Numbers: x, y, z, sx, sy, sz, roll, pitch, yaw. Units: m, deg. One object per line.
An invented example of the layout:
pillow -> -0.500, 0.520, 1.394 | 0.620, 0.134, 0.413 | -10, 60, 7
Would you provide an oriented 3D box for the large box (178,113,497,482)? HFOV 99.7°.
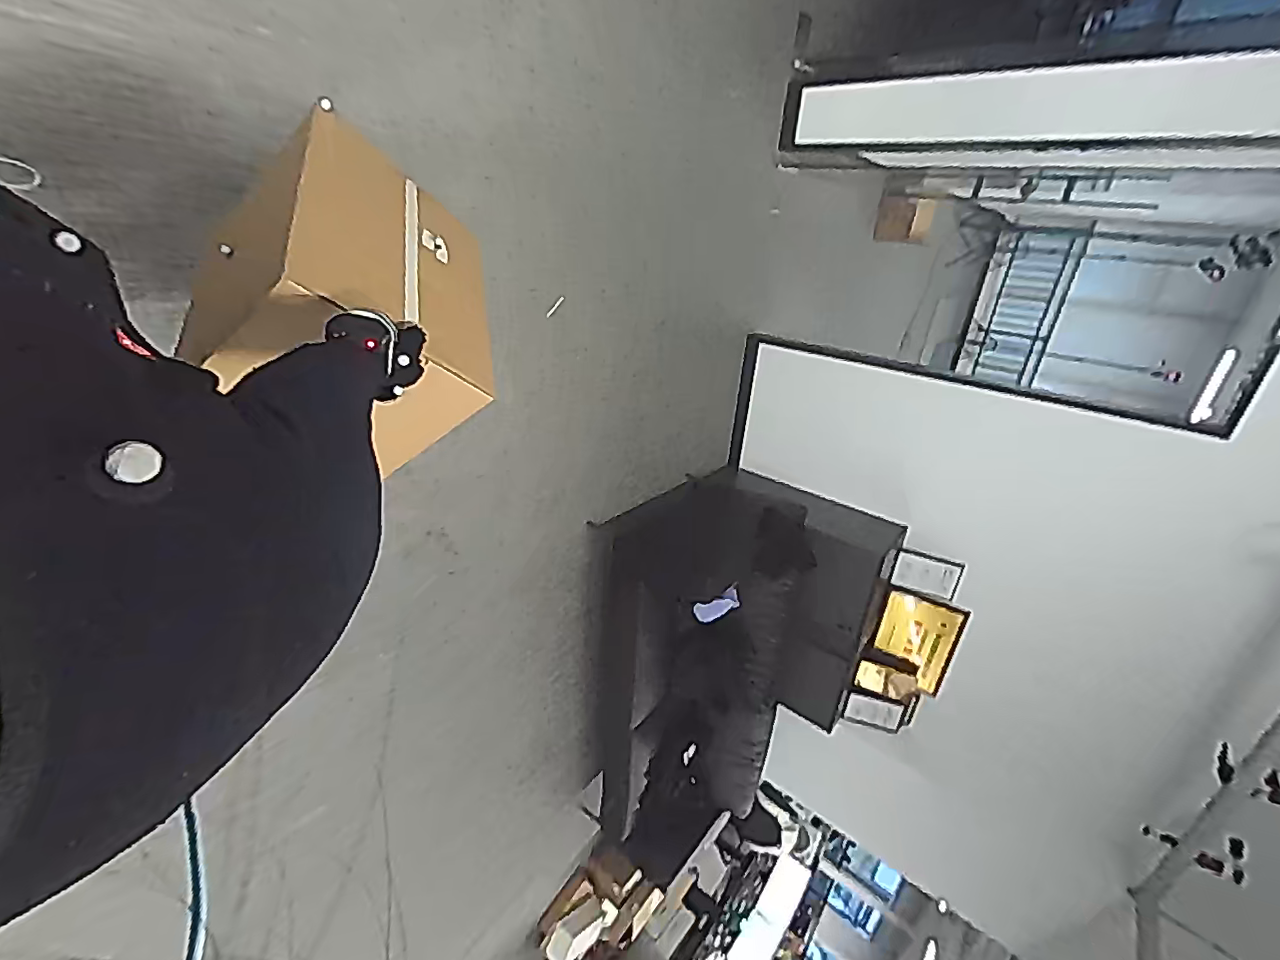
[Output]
large box -> -0.471, -0.268, 0.881 | 0.320, 0.408, 0.320 | -30, 146, 22
